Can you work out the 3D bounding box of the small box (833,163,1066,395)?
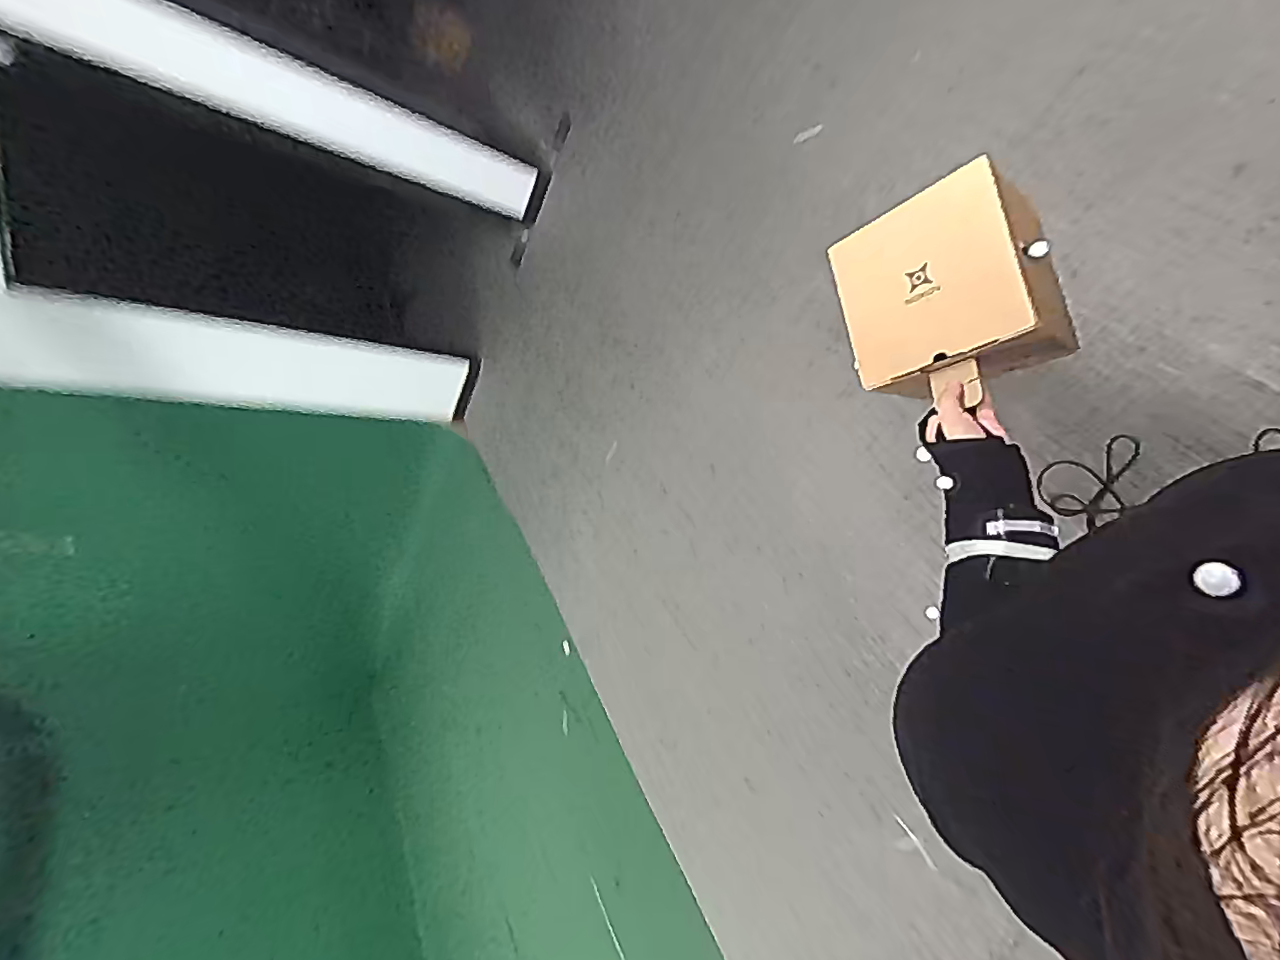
[{"bbox_3d":[0.350,-0.206,0.614,0.168,0.176,0.179,-18,79,47],"label":"small box"}]
